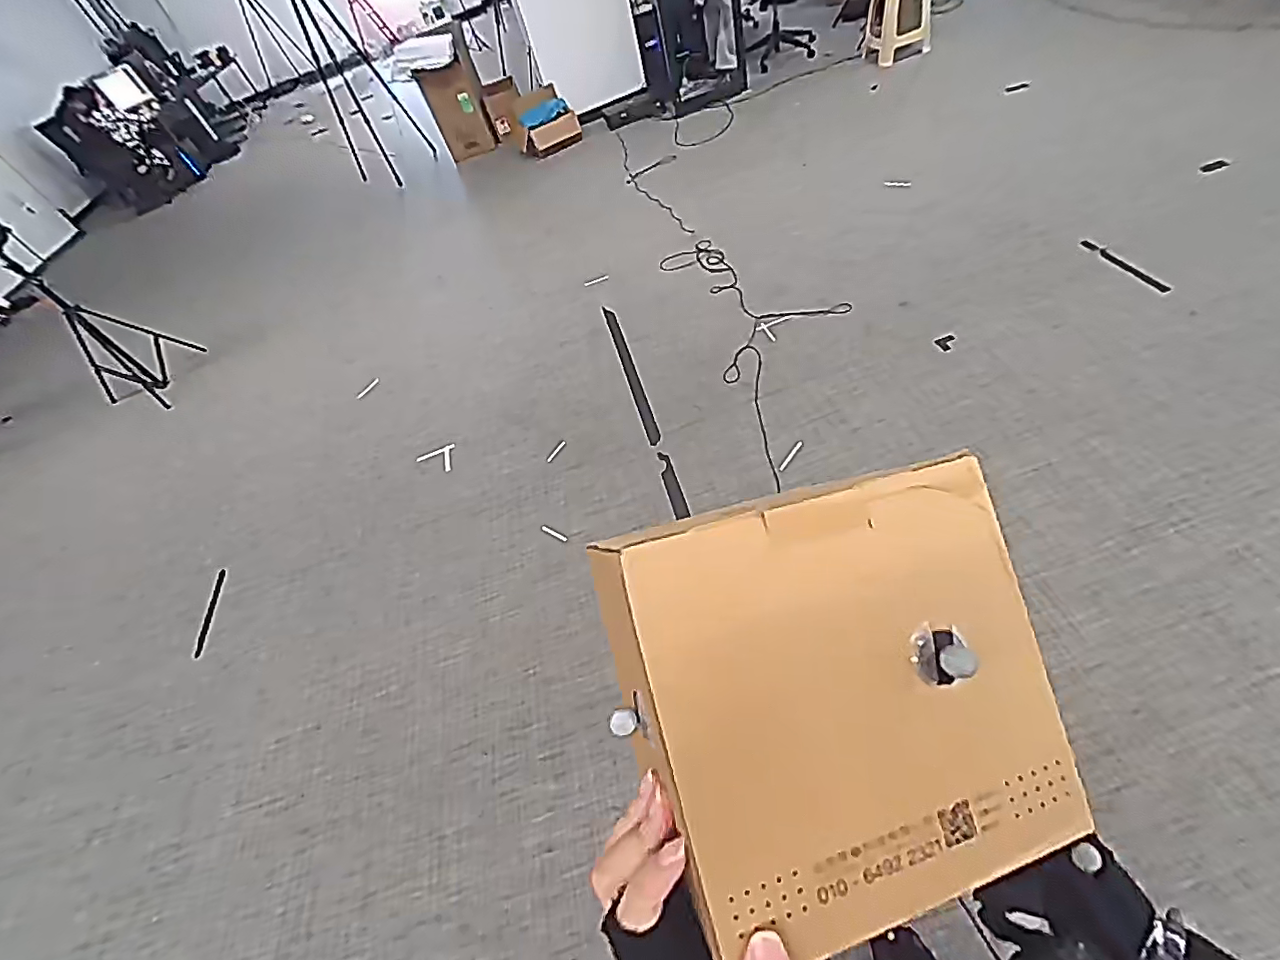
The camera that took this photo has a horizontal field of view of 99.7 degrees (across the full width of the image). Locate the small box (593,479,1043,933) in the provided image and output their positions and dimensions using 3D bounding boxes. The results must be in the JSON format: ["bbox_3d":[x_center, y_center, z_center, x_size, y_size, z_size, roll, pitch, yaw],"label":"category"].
[{"bbox_3d":[0.077,0.108,0.312,0.168,0.179,0.176,-14,85,-11],"label":"small box"}]
